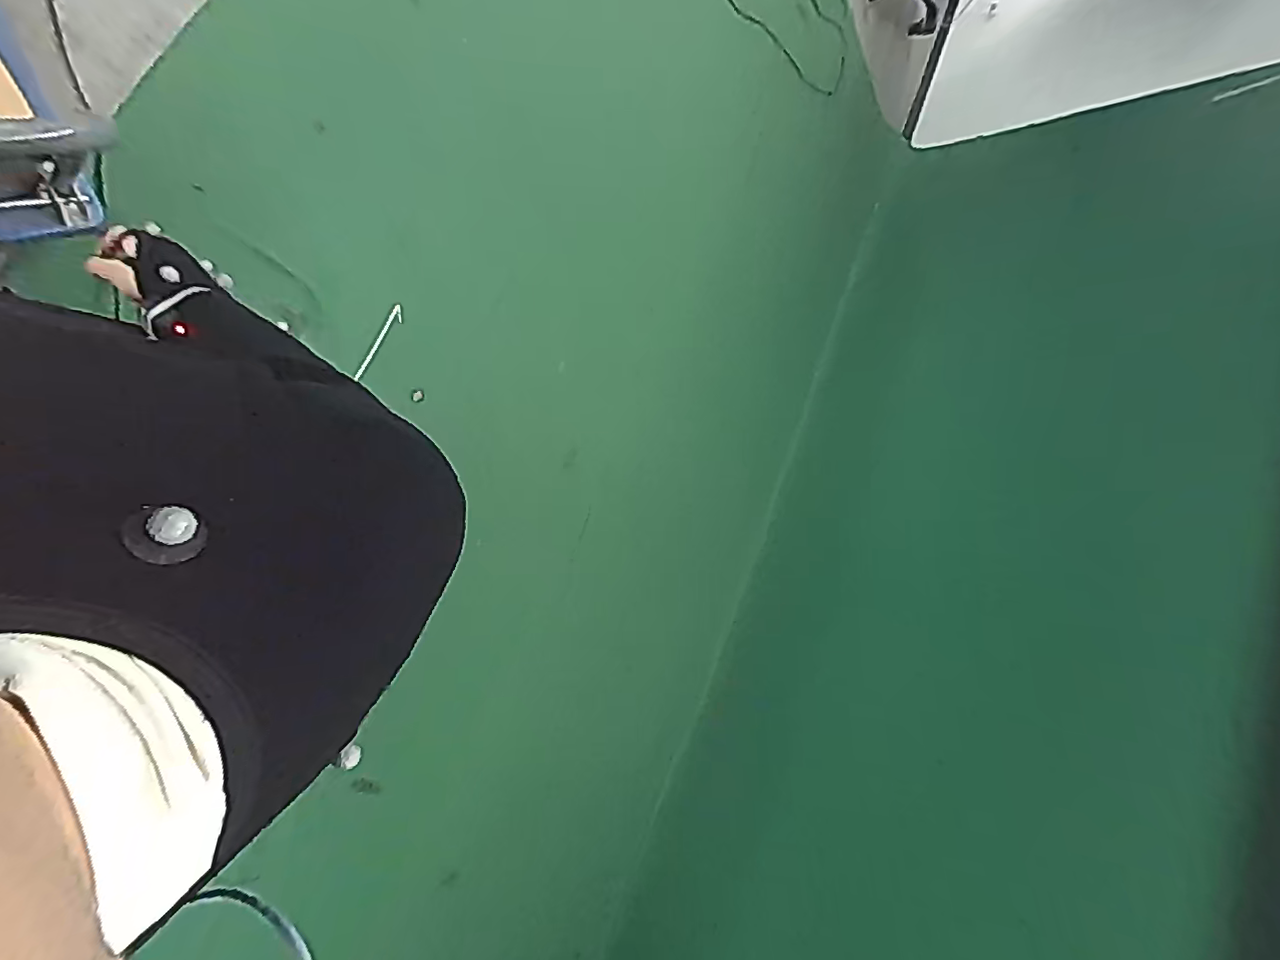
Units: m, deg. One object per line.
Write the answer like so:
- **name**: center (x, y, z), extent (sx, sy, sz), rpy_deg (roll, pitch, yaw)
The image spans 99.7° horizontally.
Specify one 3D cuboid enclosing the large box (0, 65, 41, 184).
- **large box**: center (-1.119, -0.622, 0.702), extent (0.320, 0.320, 0.408), rpy_deg (-37, 122, -38)
